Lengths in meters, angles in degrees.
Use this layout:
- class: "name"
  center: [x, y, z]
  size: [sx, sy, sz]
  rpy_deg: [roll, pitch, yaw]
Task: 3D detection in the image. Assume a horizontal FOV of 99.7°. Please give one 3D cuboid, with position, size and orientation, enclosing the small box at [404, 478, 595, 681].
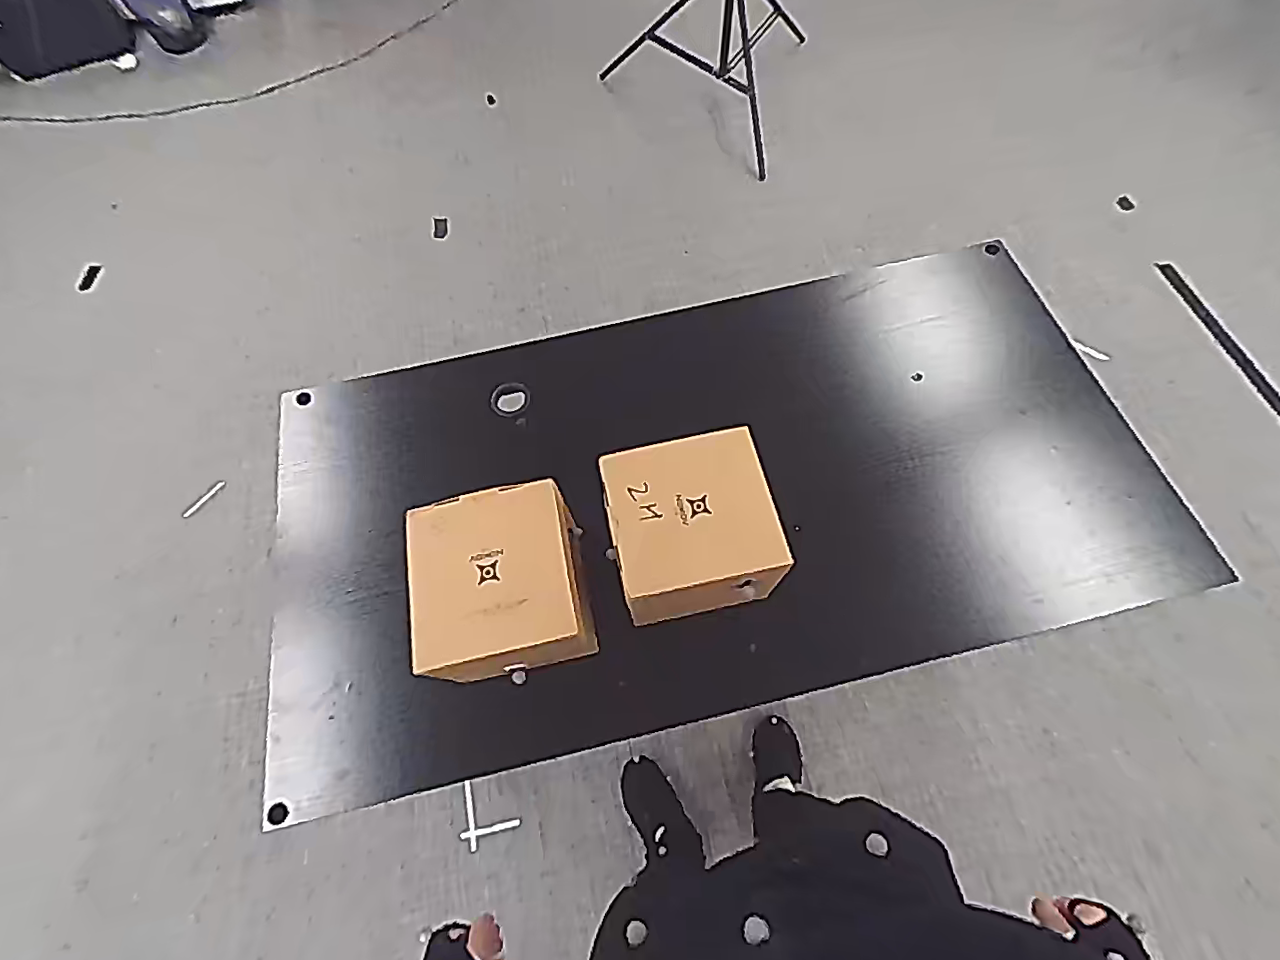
- class: "small box"
  center: [-0.154, 0.123, 0.627]
  size: [0.168, 0.176, 0.179]
  rpy_deg: [-14, 67, -2]

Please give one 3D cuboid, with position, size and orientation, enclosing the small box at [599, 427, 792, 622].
- class: "small box"
  center: [0.056, 0.061, 0.641]
  size: [0.179, 0.176, 0.168]
  rpy_deg: [-11, 66, -2]
